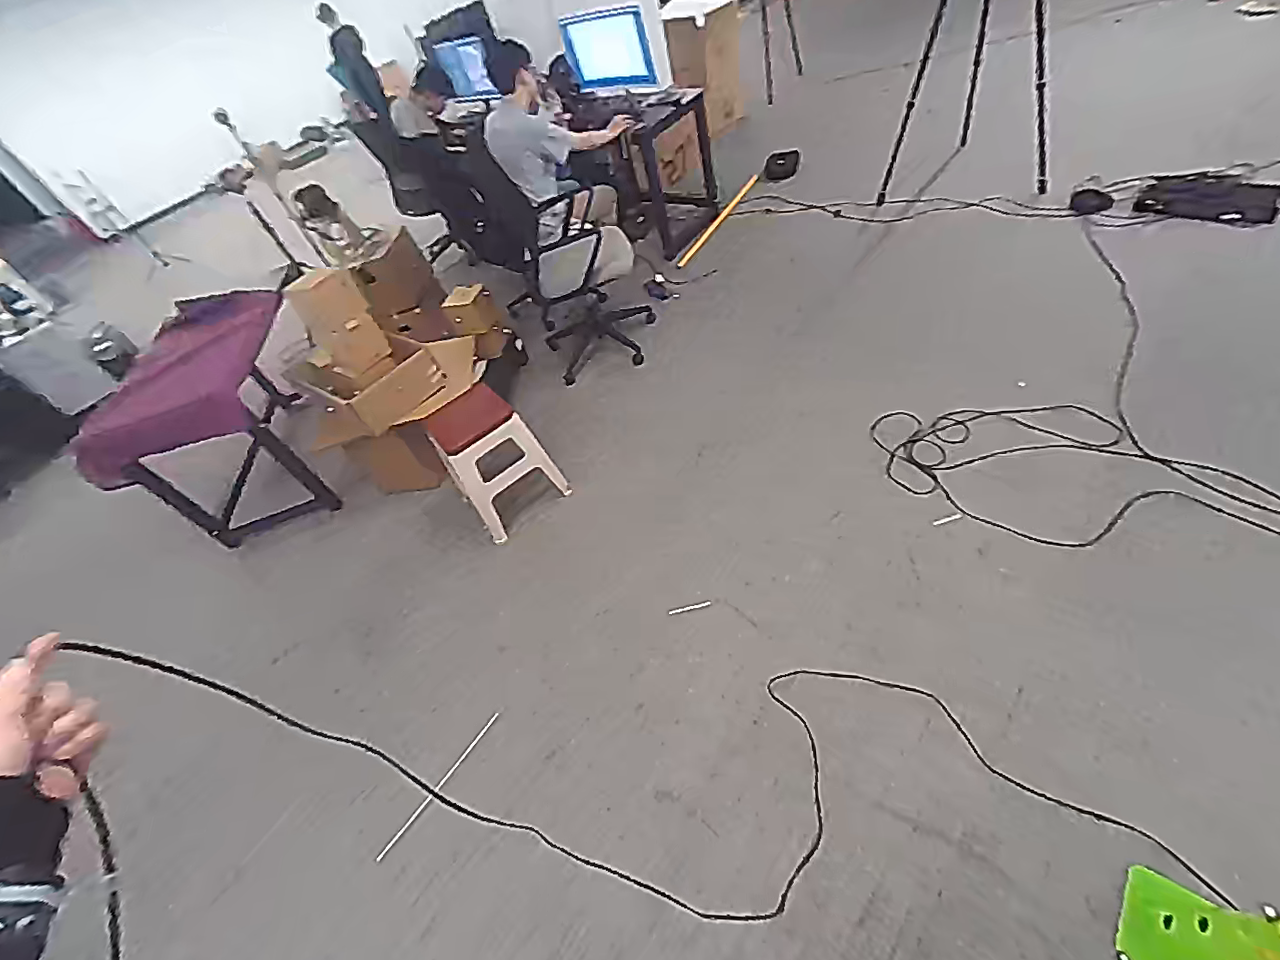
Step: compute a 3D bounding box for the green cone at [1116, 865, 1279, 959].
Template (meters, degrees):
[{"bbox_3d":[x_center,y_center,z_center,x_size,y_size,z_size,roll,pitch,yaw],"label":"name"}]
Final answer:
[{"bbox_3d":[1.003,0.775,0.907,0.200,0.368,0.202,21,57,33],"label":"green cone"}]
